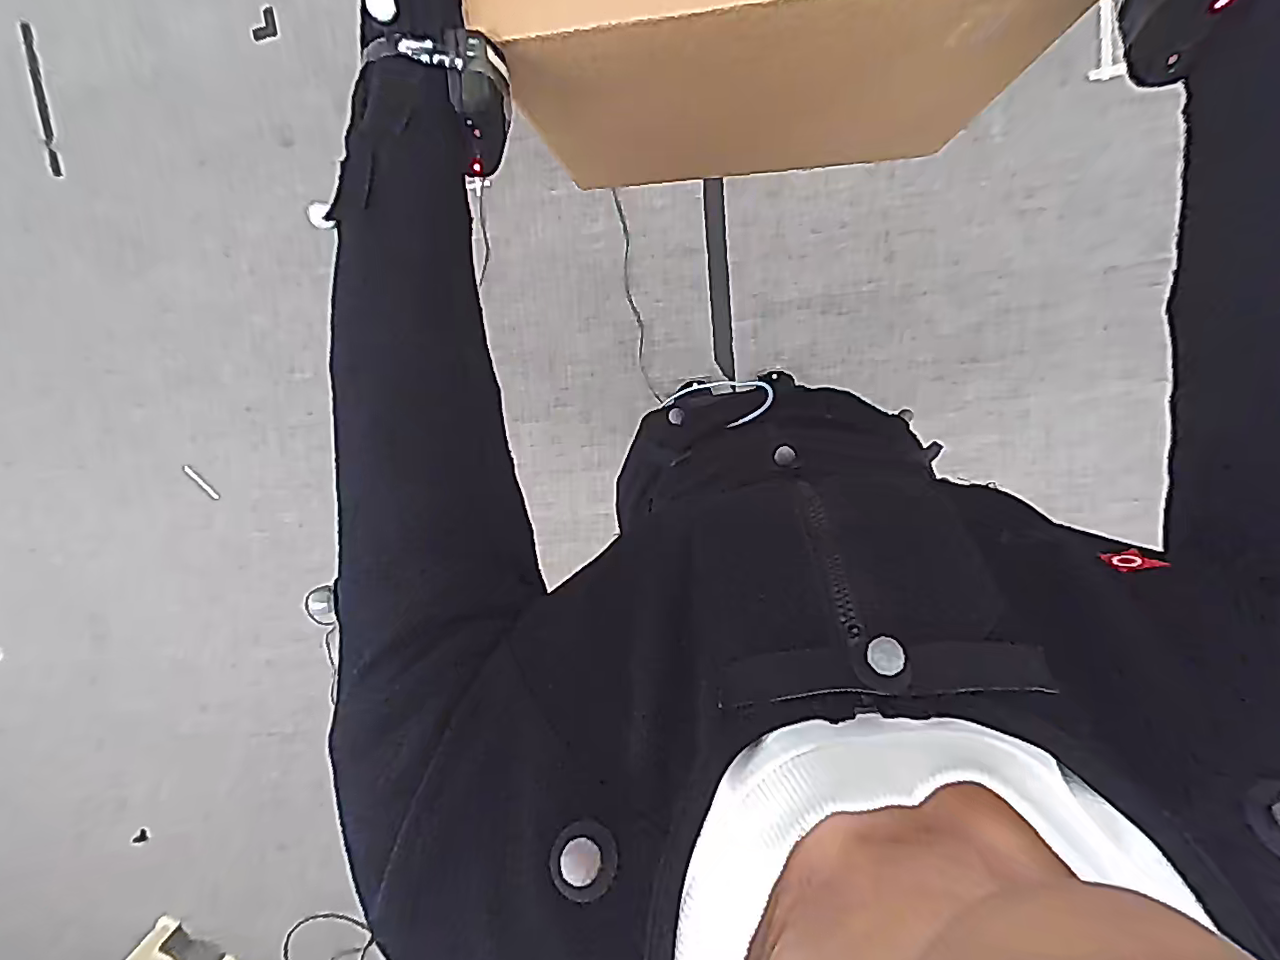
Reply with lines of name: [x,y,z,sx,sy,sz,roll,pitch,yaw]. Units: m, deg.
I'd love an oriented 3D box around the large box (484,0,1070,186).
large box: [0.098,-0.478,0.449,0.408,0.320,0.320,-2,102,7]
